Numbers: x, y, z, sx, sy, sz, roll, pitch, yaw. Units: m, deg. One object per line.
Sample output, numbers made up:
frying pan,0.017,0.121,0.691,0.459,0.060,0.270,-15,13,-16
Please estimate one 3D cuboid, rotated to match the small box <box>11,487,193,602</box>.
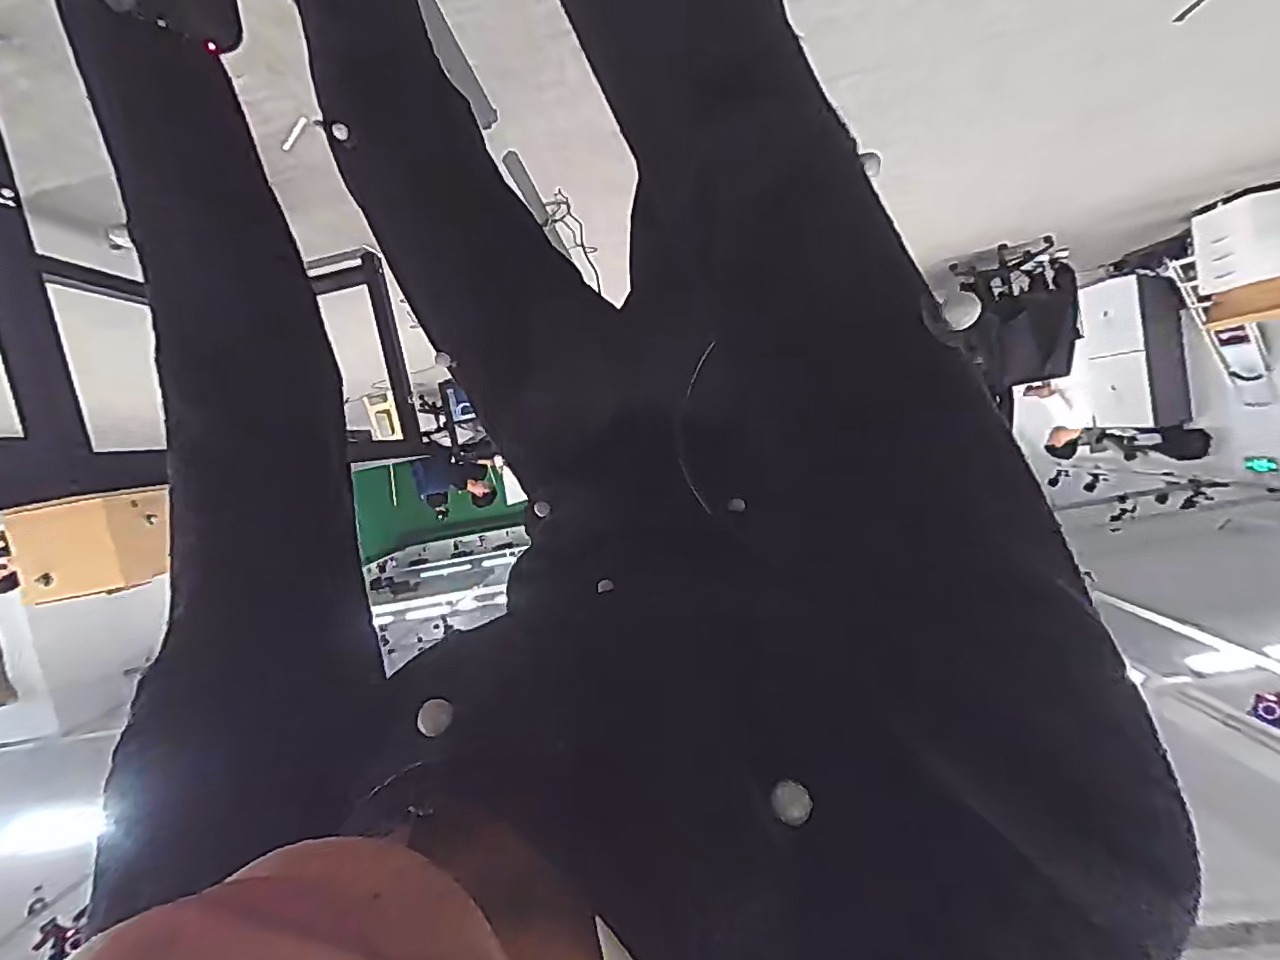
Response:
small box,-1.009,0.112,1.020,0.179,0.176,0.168,-11,-174,-2
